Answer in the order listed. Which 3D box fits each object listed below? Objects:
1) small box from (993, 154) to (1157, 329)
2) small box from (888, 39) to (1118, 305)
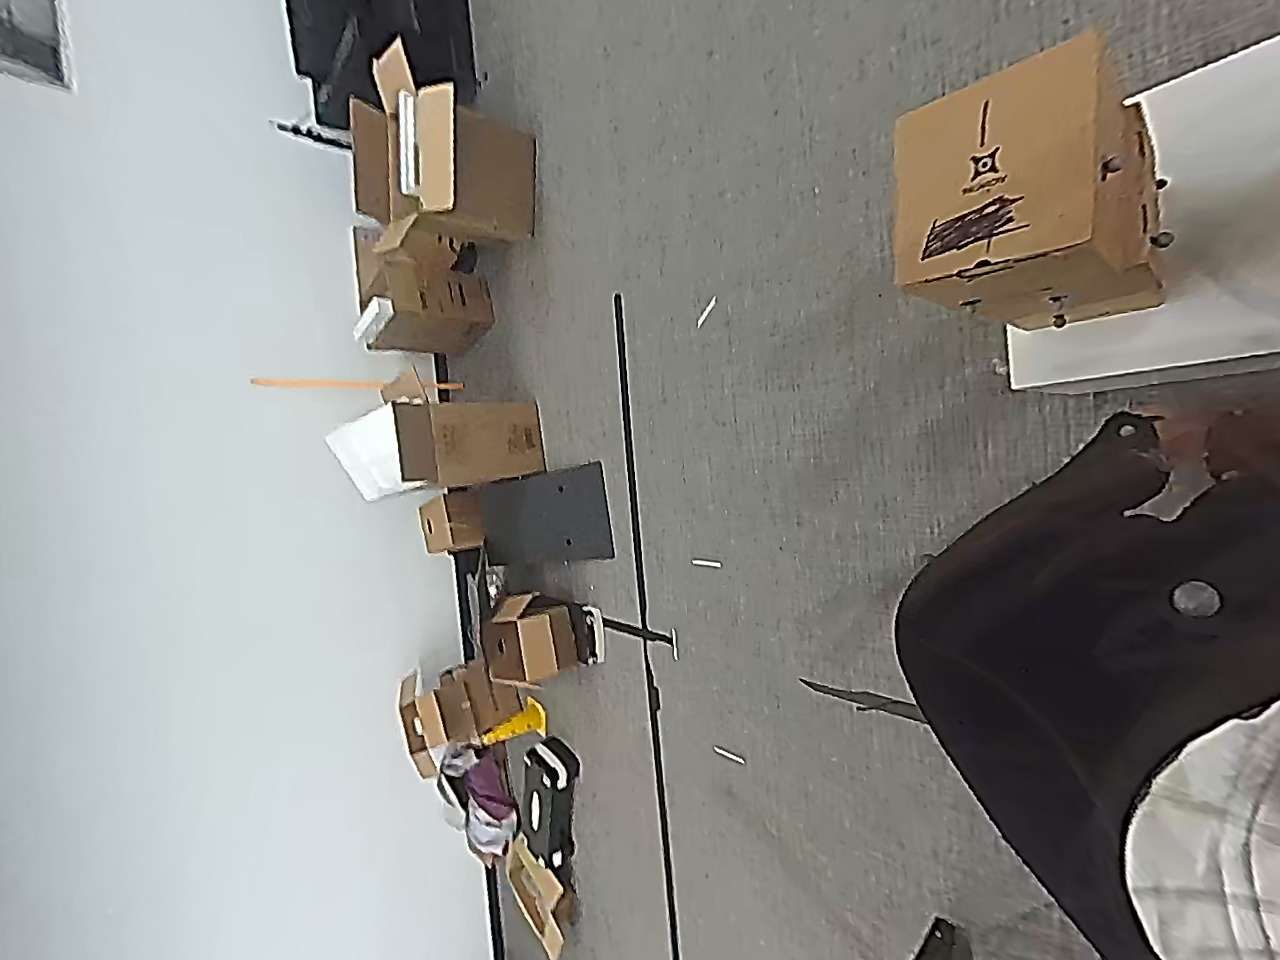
[{"bbox_3d":[0.624,-0.323,0.779,0.168,0.176,0.179,-2,93,47],"label":"small box"},{"bbox_3d":[0.378,-0.289,0.563,0.168,0.176,0.179,3,96,47],"label":"small box"}]
